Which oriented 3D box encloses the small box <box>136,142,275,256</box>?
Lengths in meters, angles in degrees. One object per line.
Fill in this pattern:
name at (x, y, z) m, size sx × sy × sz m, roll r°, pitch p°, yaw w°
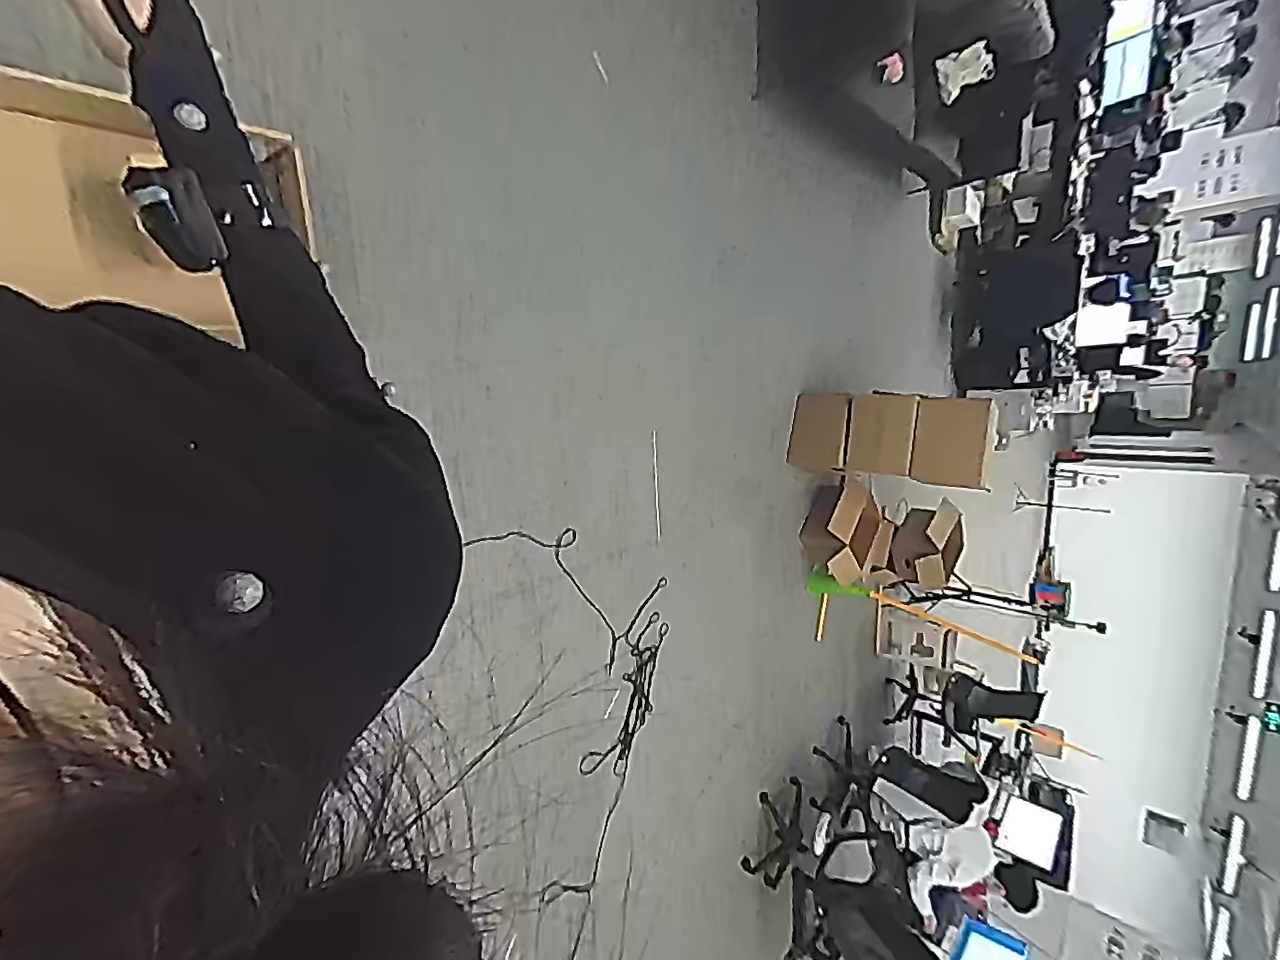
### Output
small box at (-0.869, -0.548, 1.080) m, size 0.179 × 0.176 × 0.168 m, roll -21°, pitch 111°, yaw -41°
